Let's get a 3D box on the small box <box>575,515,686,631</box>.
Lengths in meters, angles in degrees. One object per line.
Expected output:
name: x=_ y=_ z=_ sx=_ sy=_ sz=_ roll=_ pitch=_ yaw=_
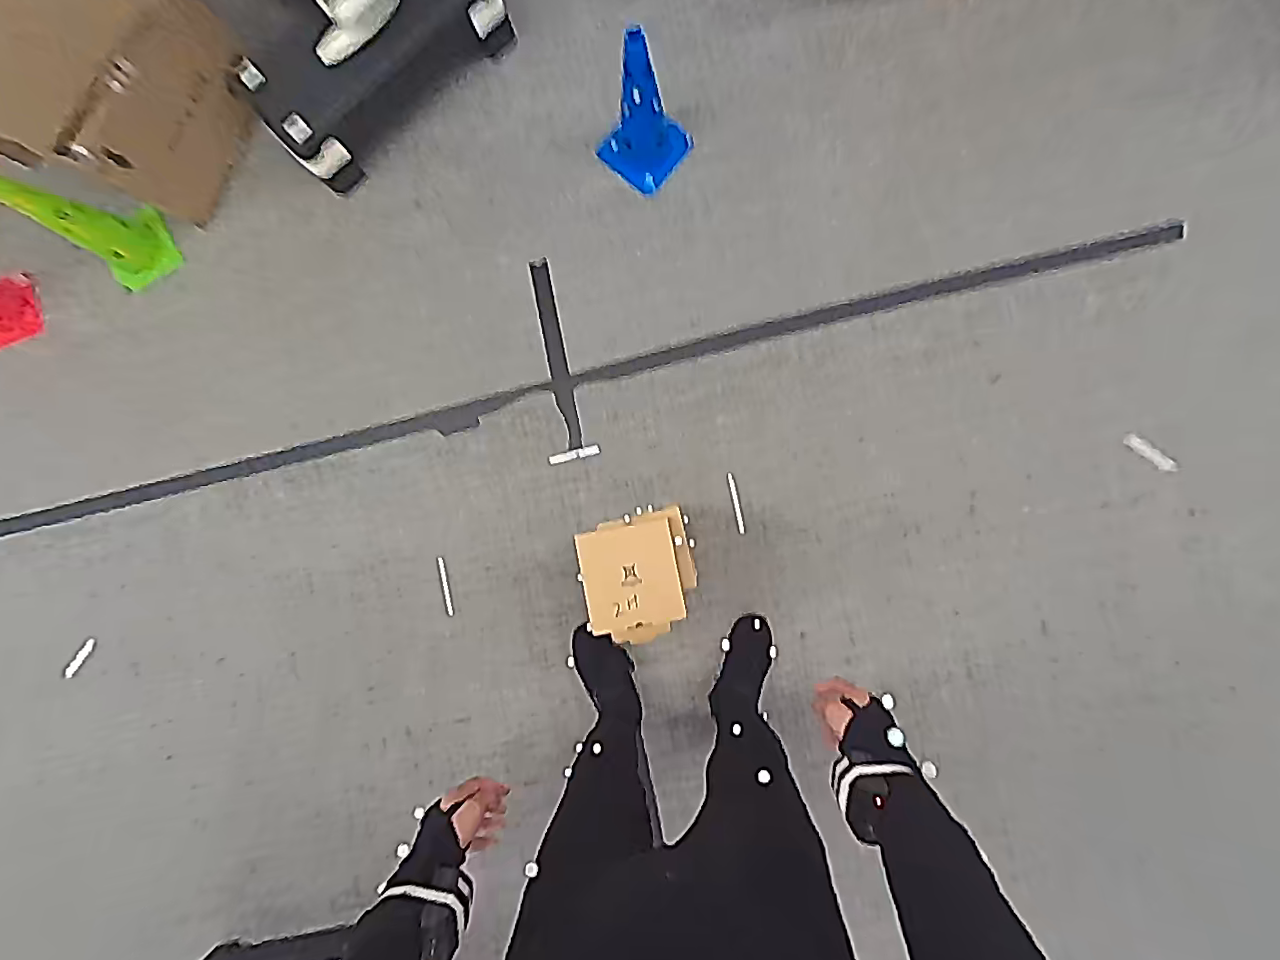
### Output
small box: x=-0.013 y=0.162 z=0.992 sx=0.168 sy=0.176 sz=0.179 roll=-11 pitch=88 yaw=4

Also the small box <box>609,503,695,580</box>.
small box: x=0.034 y=0.160 z=1.320 sx=0.168 sy=0.176 sz=0.179 roll=-16 pitch=87 yaw=4
